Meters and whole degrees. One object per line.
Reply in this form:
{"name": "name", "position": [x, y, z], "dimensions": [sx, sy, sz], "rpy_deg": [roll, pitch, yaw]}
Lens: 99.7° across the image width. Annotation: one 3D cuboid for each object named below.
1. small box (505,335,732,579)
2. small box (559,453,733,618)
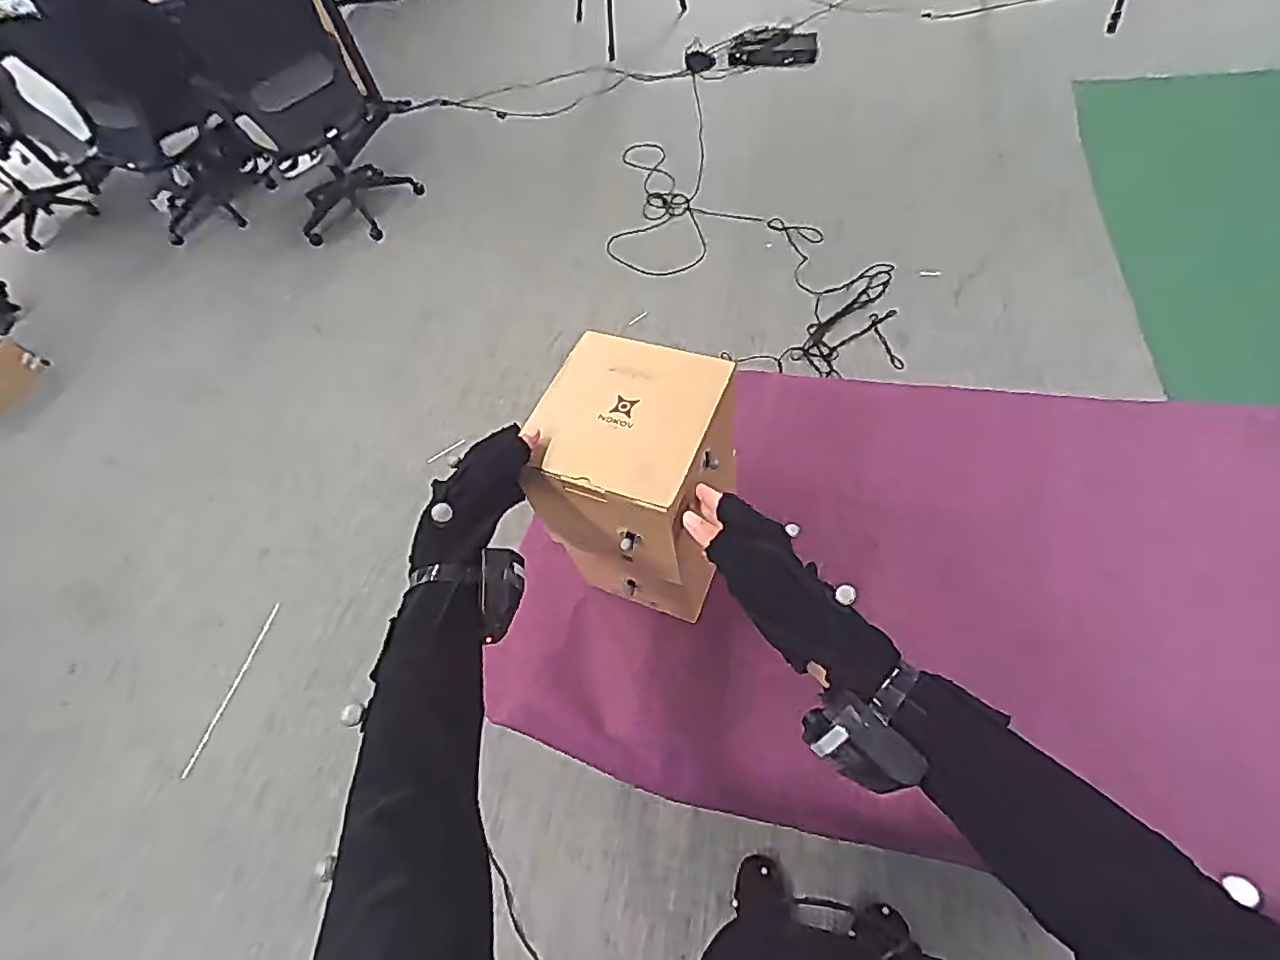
{"name": "small box", "position": [-0.006, -0.019, 0.573], "dimensions": [0.168, 0.176, 0.179], "rpy_deg": [18, 63, 19]}
{"name": "small box", "position": [0.022, 0.060, 0.713], "dimensions": [0.168, 0.176, 0.179], "rpy_deg": [16, 63, 18]}
